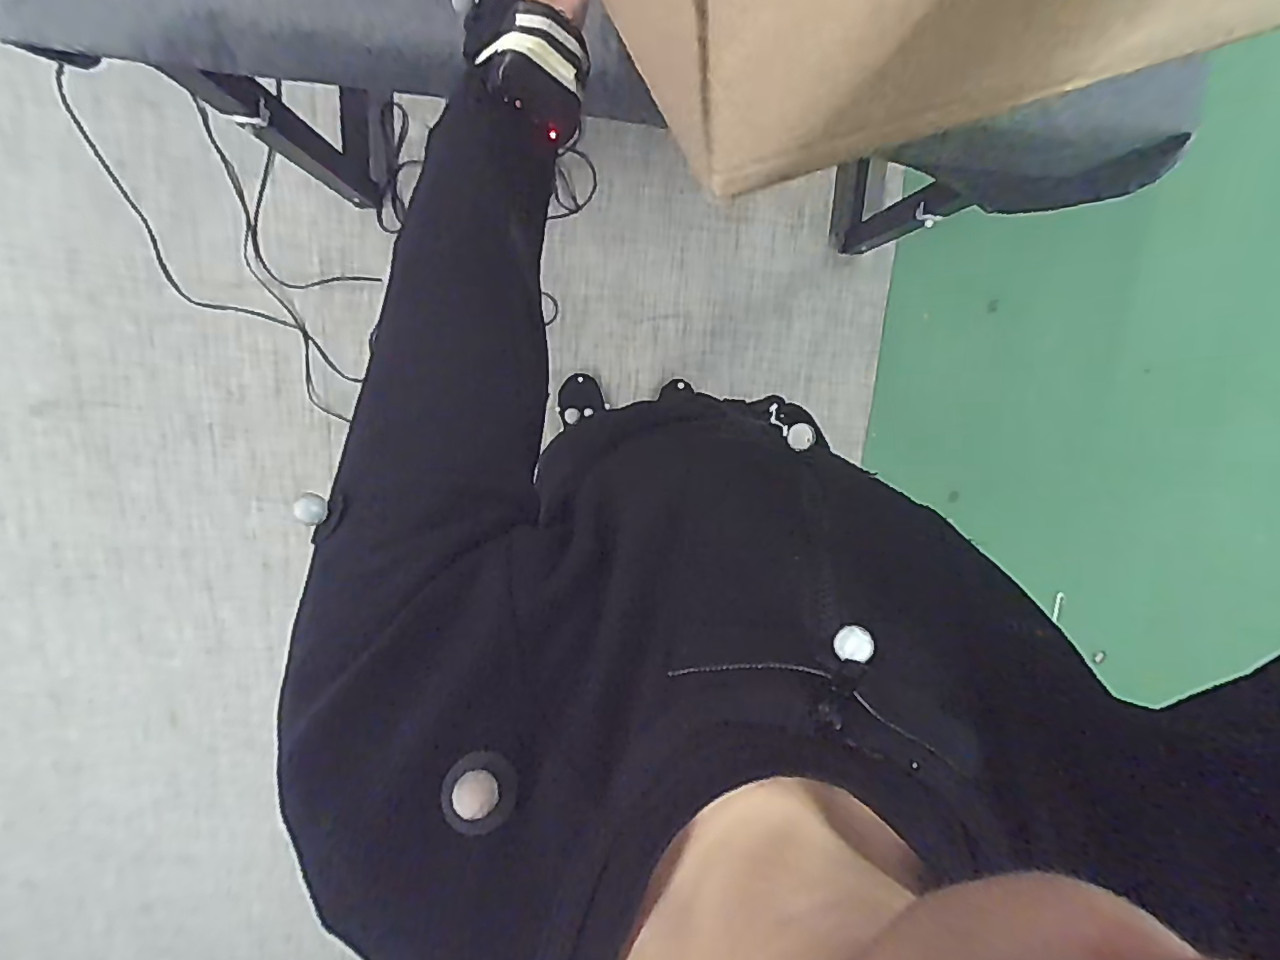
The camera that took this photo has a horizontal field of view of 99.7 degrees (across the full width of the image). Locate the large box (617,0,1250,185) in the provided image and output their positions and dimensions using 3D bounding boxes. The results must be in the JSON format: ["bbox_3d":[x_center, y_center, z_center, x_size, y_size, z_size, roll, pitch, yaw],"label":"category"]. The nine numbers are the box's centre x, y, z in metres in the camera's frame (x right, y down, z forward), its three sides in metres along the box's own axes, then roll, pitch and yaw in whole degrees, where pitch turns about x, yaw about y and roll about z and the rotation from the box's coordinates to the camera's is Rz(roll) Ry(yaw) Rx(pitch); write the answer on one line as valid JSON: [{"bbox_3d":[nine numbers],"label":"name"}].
[{"bbox_3d":[0.098,-0.408,0.199,0.320,0.320,0.408,-19,64,0],"label":"large box"}]
